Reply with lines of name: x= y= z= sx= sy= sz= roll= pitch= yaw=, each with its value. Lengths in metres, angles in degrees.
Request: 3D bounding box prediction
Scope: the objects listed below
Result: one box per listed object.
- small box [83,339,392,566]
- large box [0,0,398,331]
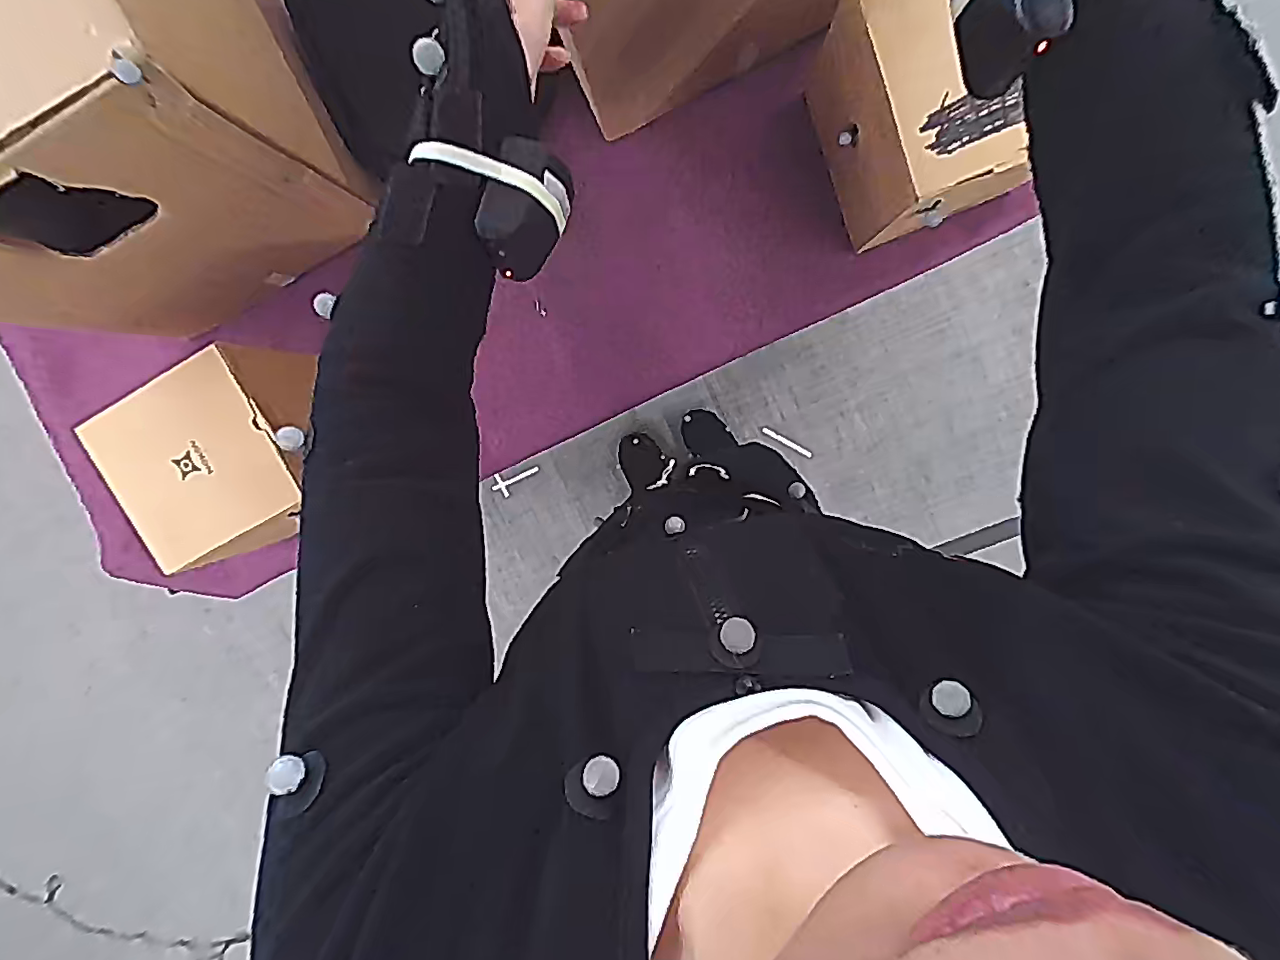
small box: x=-0.418 y=-0.032 z=0.594 sx=0.179 sy=0.176 sz=0.168 roll=-28 pitch=95 yaw=7
large box: x=-0.506 y=-0.391 z=0.472 sx=0.320 sy=0.320 sz=0.408 roll=-26 pitch=99 yaw=9
